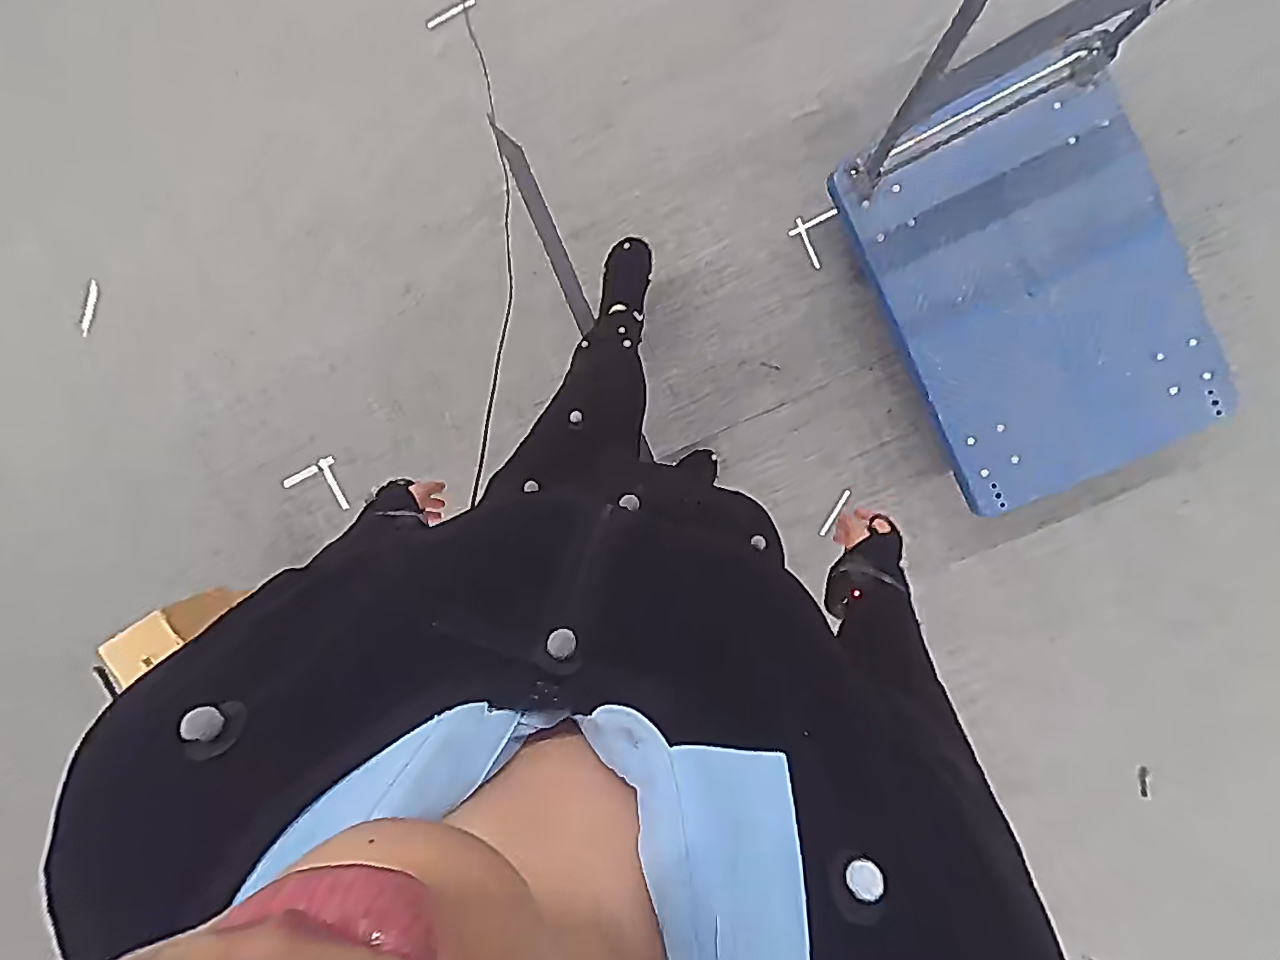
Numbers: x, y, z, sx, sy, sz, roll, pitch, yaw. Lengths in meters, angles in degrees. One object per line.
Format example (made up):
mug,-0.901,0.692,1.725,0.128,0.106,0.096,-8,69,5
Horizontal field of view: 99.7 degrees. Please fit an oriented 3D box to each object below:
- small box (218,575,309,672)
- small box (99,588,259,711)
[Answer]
small box,-0.987,0.359,1.358,0.179,0.176,0.168,-19,95,6
small box,-1.006,0.365,1.196,0.179,0.176,0.168,-31,93,7
